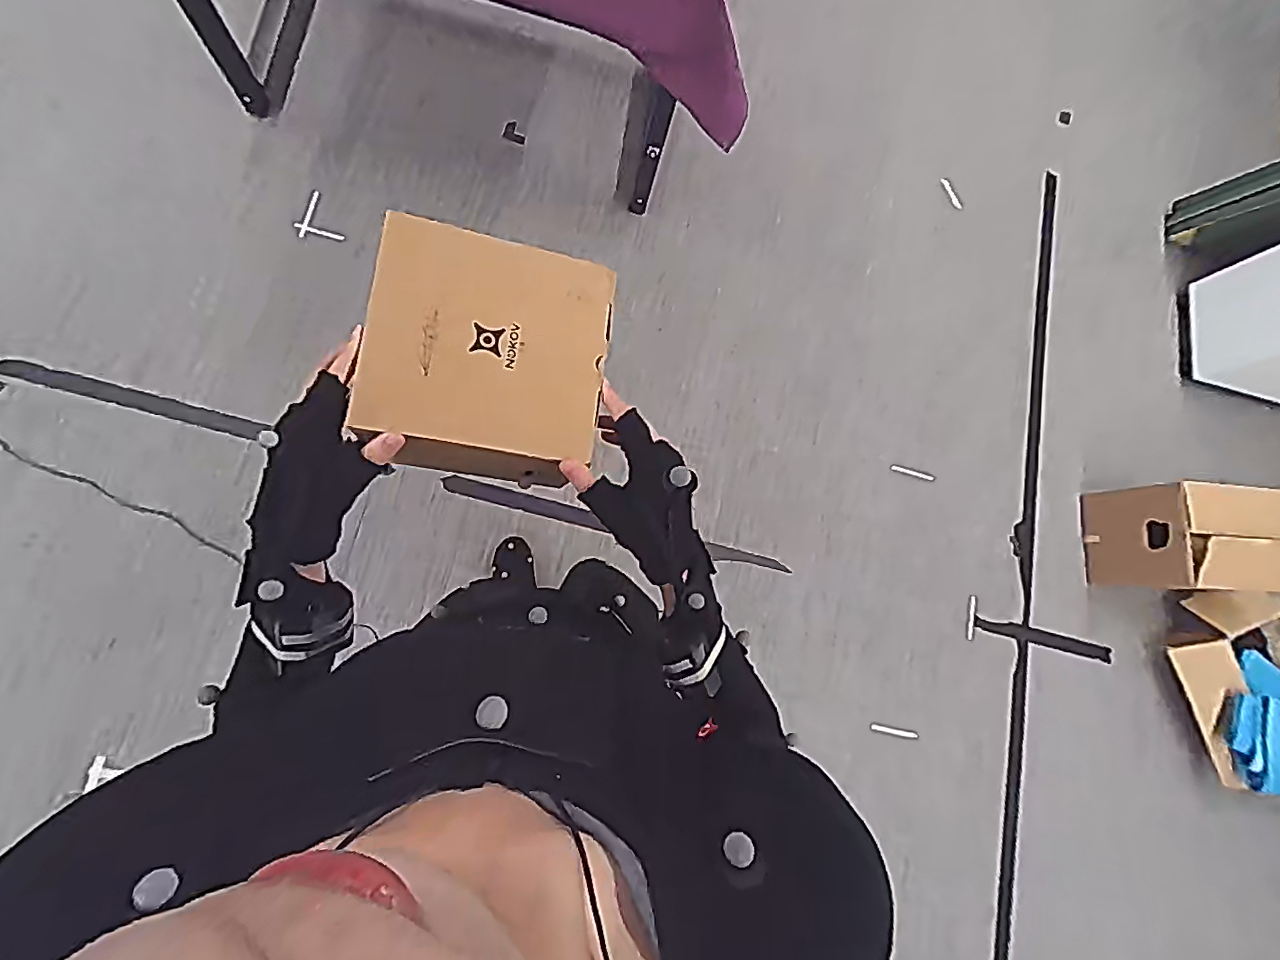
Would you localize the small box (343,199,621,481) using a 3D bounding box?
[{"bbox_3d":[-0.128,-0.097,0.467,0.179,0.176,0.168,8,79,-15],"label":"small box"}]
